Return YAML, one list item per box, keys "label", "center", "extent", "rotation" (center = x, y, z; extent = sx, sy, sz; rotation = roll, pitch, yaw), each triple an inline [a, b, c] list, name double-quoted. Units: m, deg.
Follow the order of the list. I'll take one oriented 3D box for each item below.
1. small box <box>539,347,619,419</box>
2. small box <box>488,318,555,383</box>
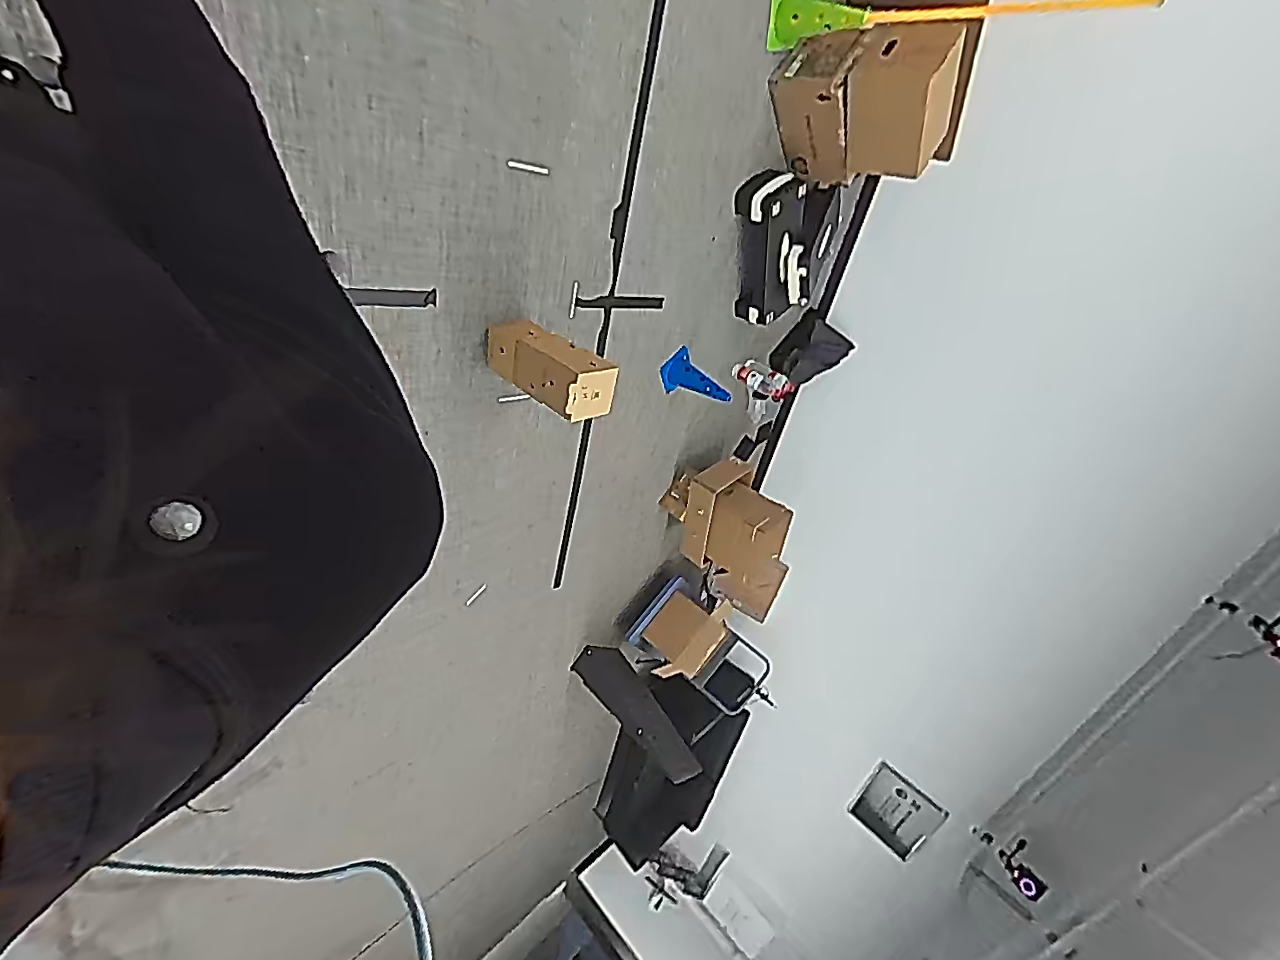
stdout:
- label: "small box"
  center: [-0.198, -0.319, 1.738]
  extent: [0.179, 0.176, 0.168]
  rotation: [-20, 135, -43]
- label: "small box"
  center: [-0.427, -0.466, 1.927]
  extent: [0.179, 0.176, 0.168]
  rotation: [-23, 136, -41]
